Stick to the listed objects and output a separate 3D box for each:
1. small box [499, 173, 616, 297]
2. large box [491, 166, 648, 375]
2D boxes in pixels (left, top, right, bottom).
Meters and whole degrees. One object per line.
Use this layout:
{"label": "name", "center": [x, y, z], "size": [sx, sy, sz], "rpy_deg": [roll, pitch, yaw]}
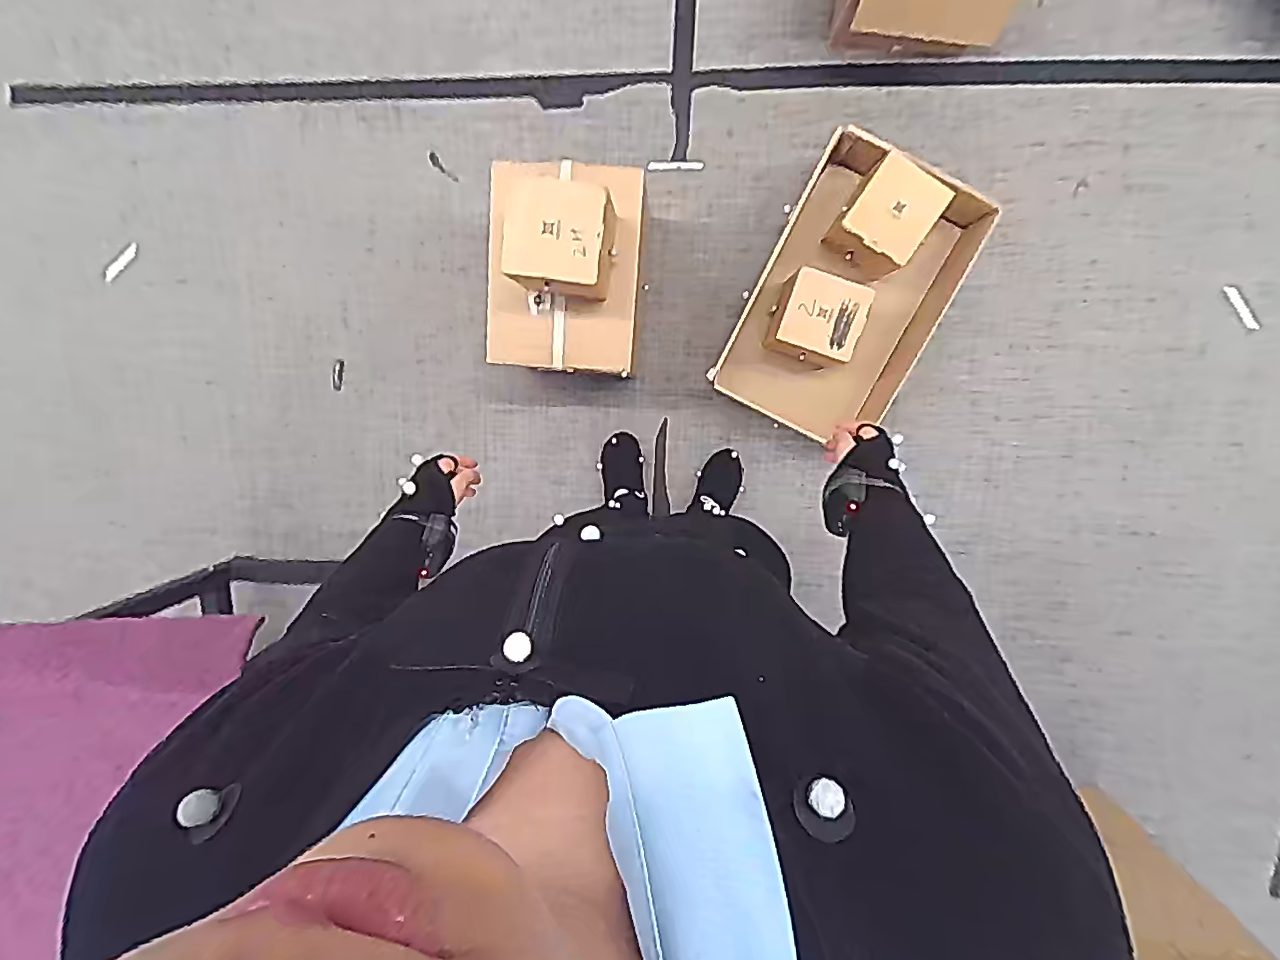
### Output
{"label": "small box", "center": [-0.146, -0.446, 1.009], "size": [0.179, 0.176, 0.168], "rpy_deg": [8, 101, 1]}
{"label": "large box", "center": [-0.146, -0.457, 1.258], "size": [0.320, 0.320, 0.408], "rpy_deg": [4, 101, 4]}
